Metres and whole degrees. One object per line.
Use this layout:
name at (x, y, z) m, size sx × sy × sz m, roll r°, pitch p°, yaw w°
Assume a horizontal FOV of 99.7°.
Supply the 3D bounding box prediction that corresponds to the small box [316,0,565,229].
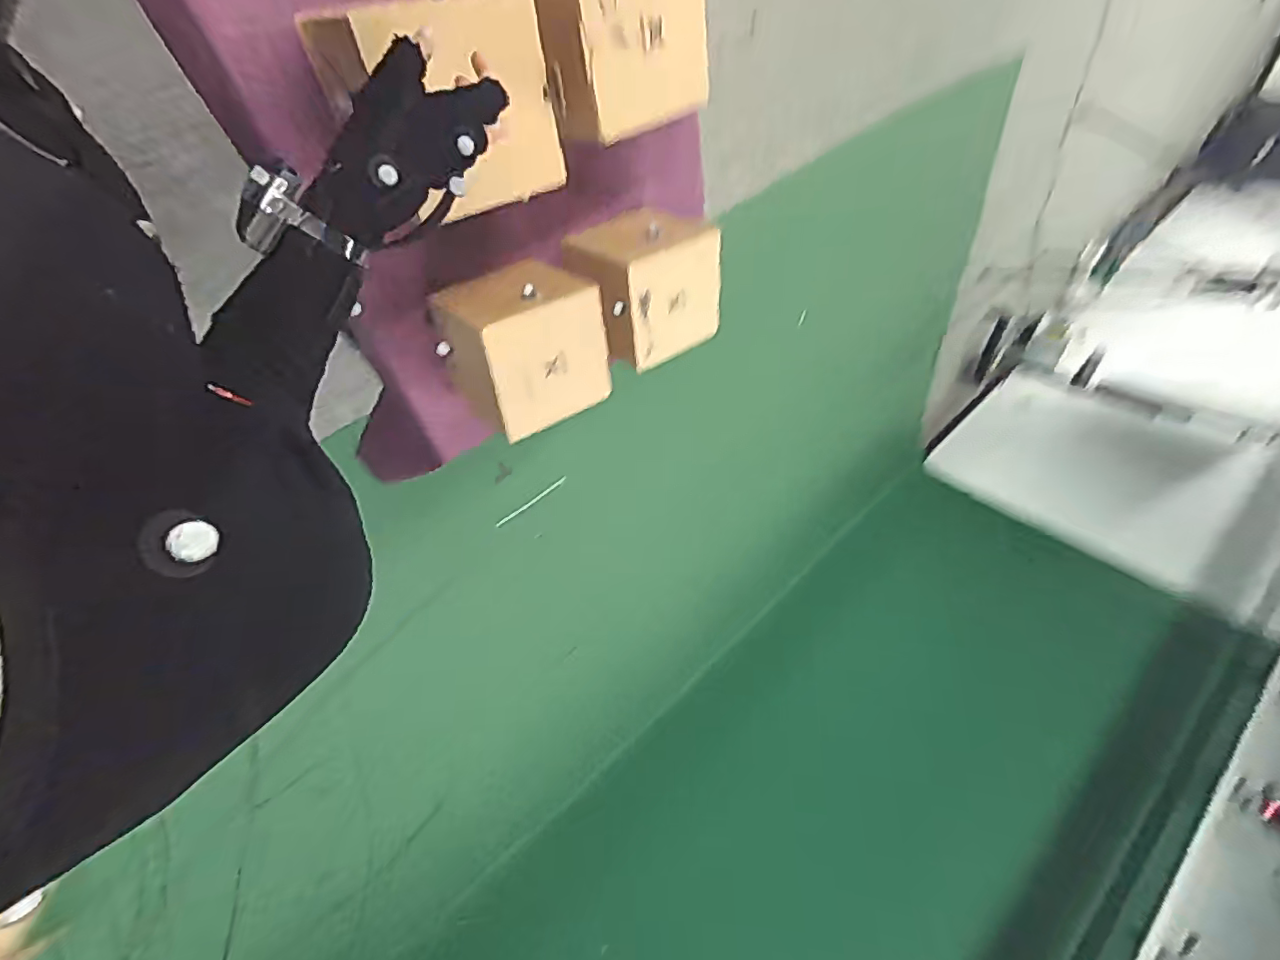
small box at (-0.208, -0.385, 0.567) m, size 0.179 × 0.176 × 0.168 m, roll -33°, pitch 139°, yaw -25°

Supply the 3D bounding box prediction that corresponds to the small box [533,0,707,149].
small box at (-0.041, -0.517, 0.639) m, size 0.179 × 0.176 × 0.168 m, roll -35°, pitch 140°, yaw -22°

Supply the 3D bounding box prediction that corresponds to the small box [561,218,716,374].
small box at (0.000, -0.300, 0.861) m, size 0.179 × 0.176 × 0.168 m, roll -32°, pitch 138°, yaw -27°
